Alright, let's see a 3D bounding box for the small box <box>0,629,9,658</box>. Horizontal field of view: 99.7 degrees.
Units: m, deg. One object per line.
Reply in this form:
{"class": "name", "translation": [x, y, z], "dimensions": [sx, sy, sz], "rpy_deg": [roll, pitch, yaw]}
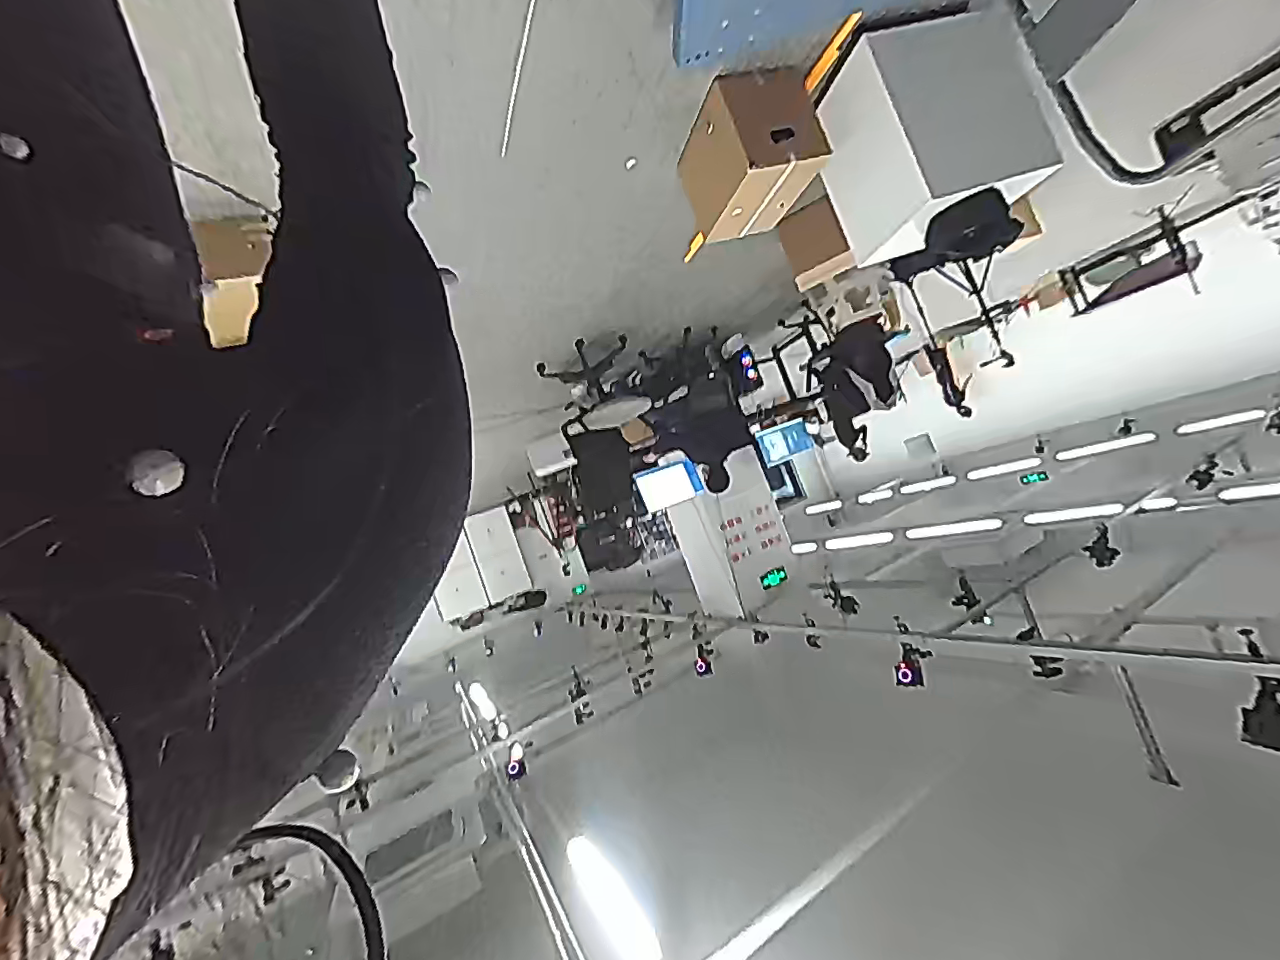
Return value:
{"class": "small box", "translation": [-2.063, 0.484, 1.606], "dimensions": [0.168, 0.176, 0.179], "rpy_deg": [-19, 177, -28]}
